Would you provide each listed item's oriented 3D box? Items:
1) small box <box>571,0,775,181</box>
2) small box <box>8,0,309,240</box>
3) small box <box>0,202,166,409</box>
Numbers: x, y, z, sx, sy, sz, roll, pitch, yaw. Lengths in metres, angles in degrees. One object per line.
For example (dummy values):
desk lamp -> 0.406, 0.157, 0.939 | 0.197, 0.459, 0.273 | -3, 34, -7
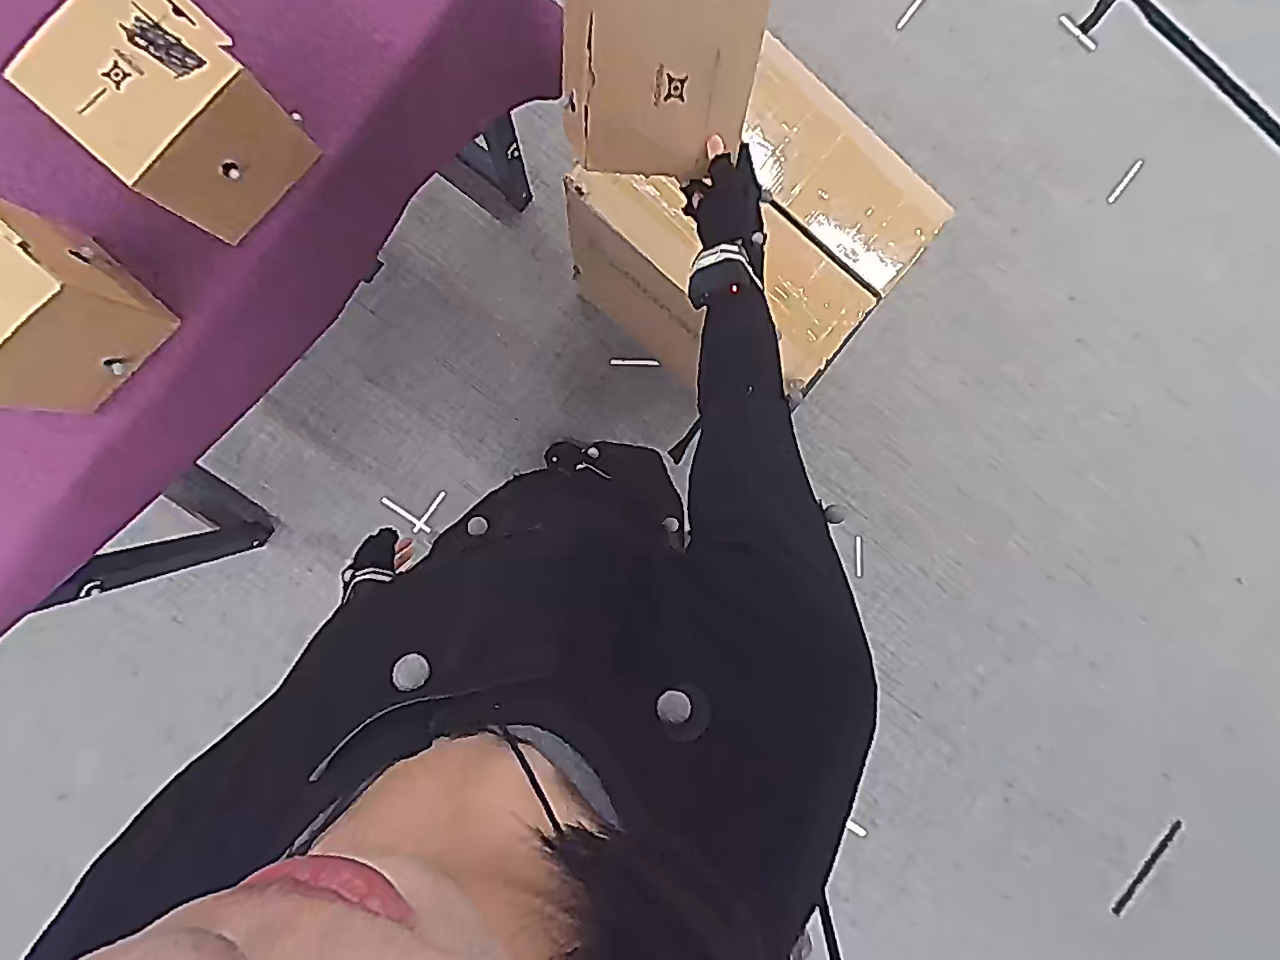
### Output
small box -> 0.019, -0.455, 0.602 | 0.179, 0.176, 0.168 | -4, 136, -14
small box -> -0.537, -0.429, 0.641 | 0.168, 0.176, 0.179 | 43, 89, -5
small box -> -0.722, -0.204, 0.635 | 0.168, 0.176, 0.179 | 44, 88, -4
